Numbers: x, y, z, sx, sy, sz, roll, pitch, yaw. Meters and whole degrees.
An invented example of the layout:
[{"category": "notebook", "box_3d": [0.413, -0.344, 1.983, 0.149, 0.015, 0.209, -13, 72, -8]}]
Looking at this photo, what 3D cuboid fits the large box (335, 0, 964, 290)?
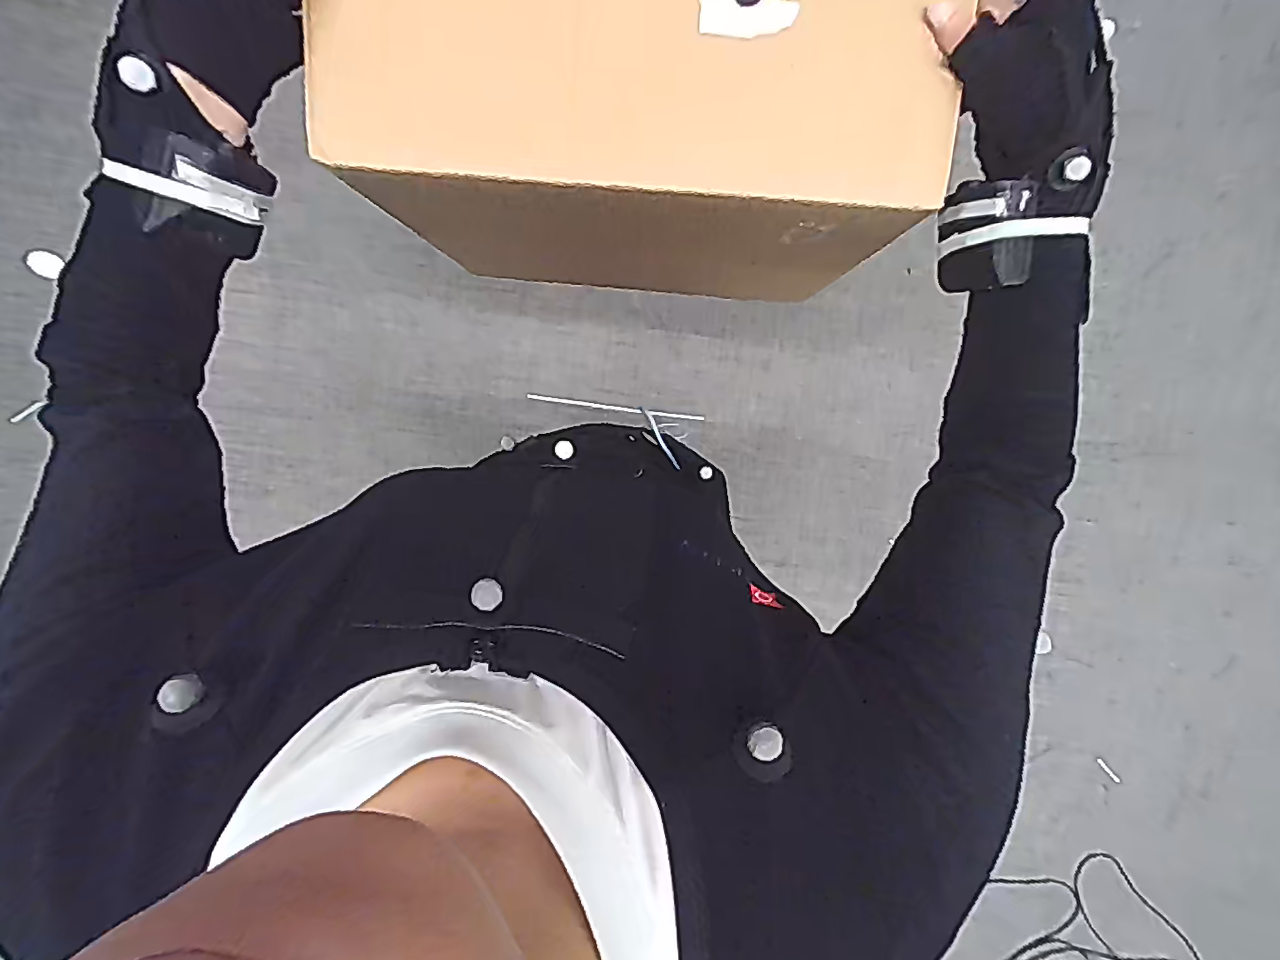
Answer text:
[{"category": "large box", "box_3d": [0.010, -0.369, 0.482, 0.408, 0.320, 0.320, 5, 99, 1]}]
